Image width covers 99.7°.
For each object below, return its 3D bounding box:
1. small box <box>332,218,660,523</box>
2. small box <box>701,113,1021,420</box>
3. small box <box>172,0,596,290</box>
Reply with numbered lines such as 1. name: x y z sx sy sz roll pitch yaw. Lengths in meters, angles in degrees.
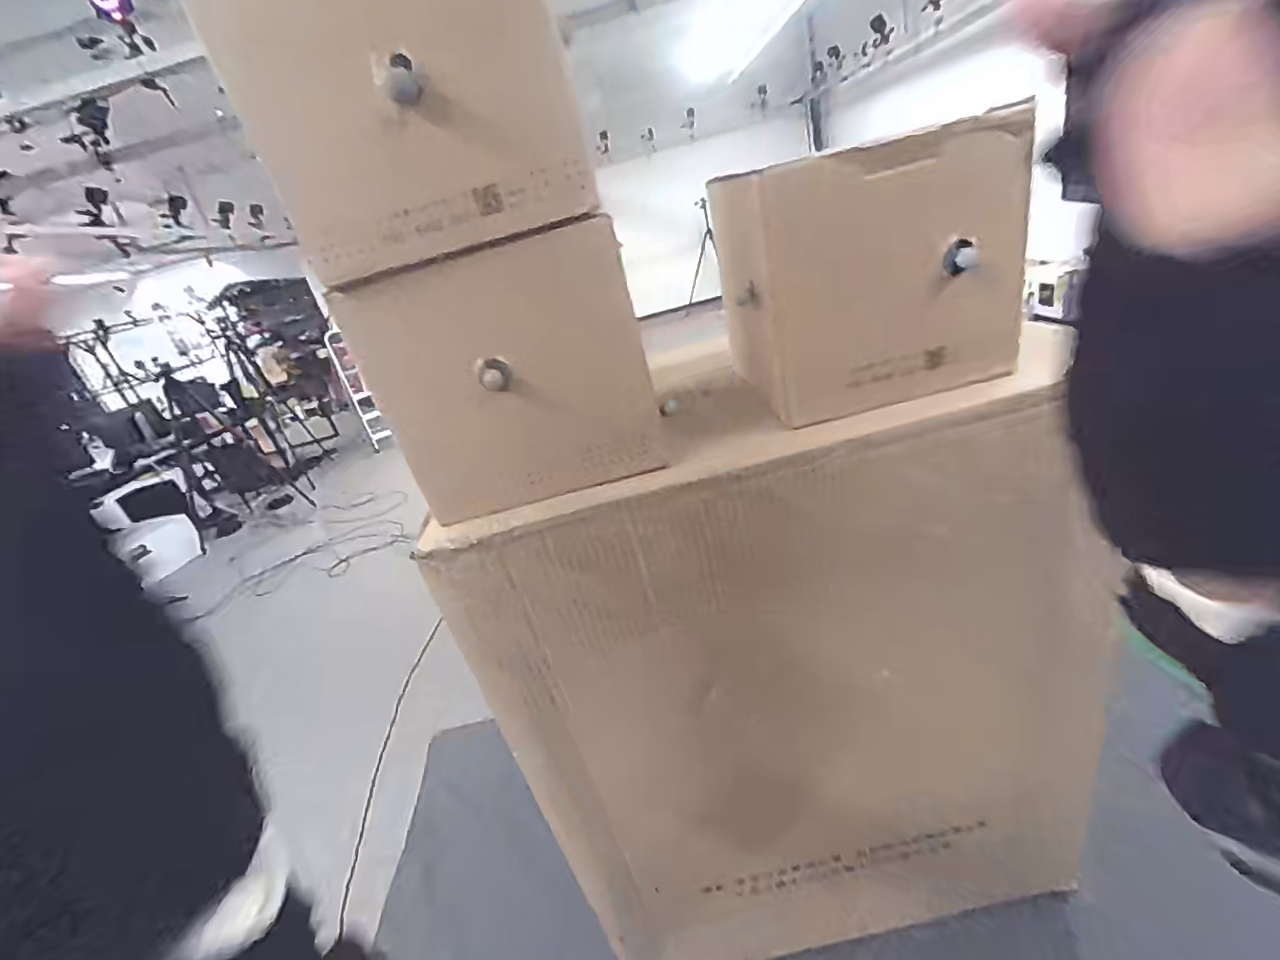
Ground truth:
1. small box: -0.088 -0.091 0.419 0.179 0.176 0.168 -15 28 -2
2. small box: 0.155 -0.157 0.424 0.168 0.176 0.179 -13 26 1
3. small box: -0.131 -0.230 0.346 0.168 0.176 0.179 -16 28 -1
